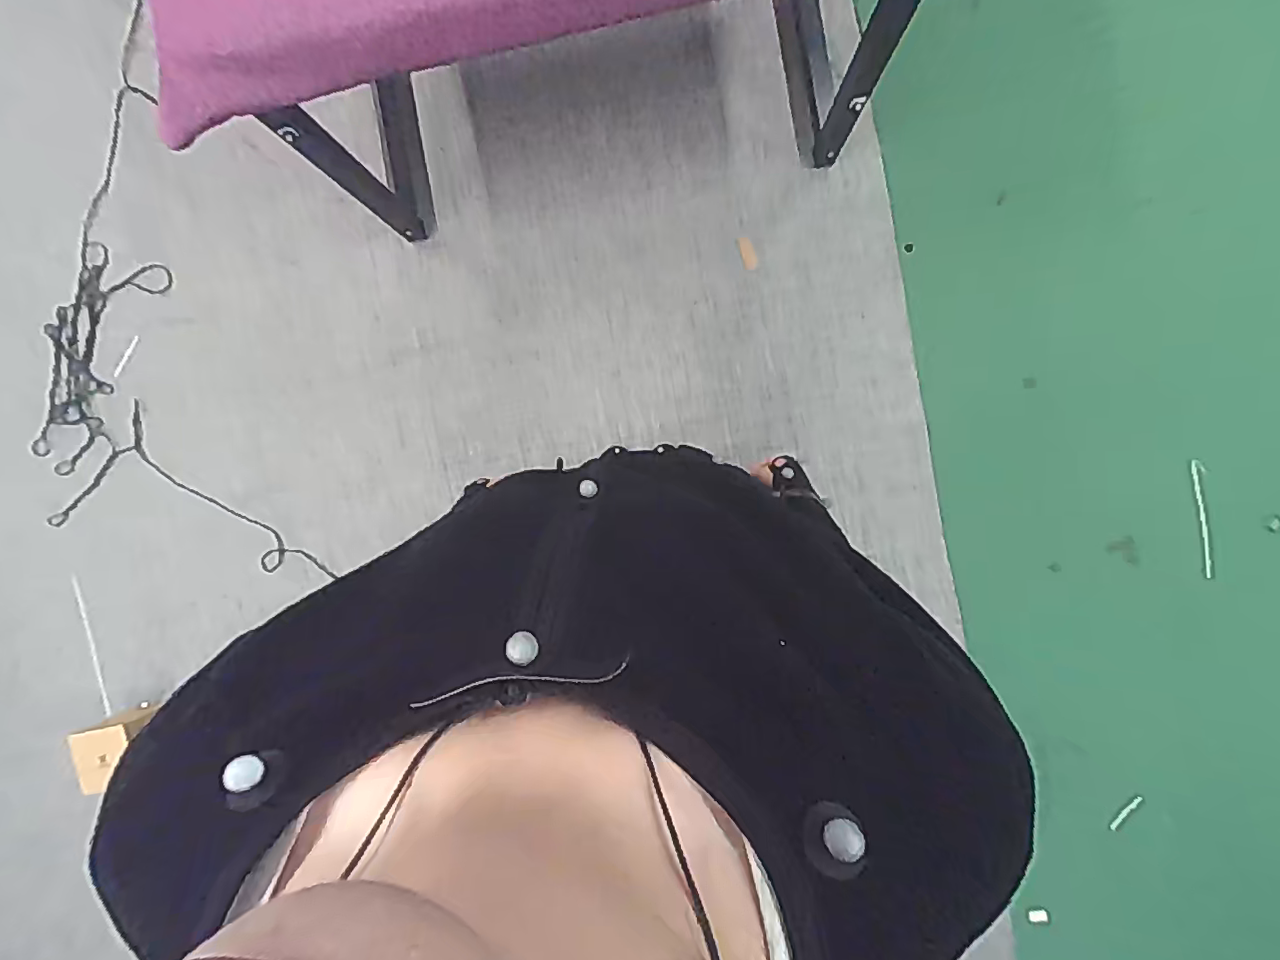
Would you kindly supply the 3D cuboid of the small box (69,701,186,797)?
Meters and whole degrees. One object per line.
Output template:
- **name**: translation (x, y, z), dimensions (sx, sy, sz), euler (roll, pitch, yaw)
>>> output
- **small box**: translation (-1.455, 0.764, 1.547), dimensions (0.168, 0.176, 0.179), euler (-12, 91, 3)
